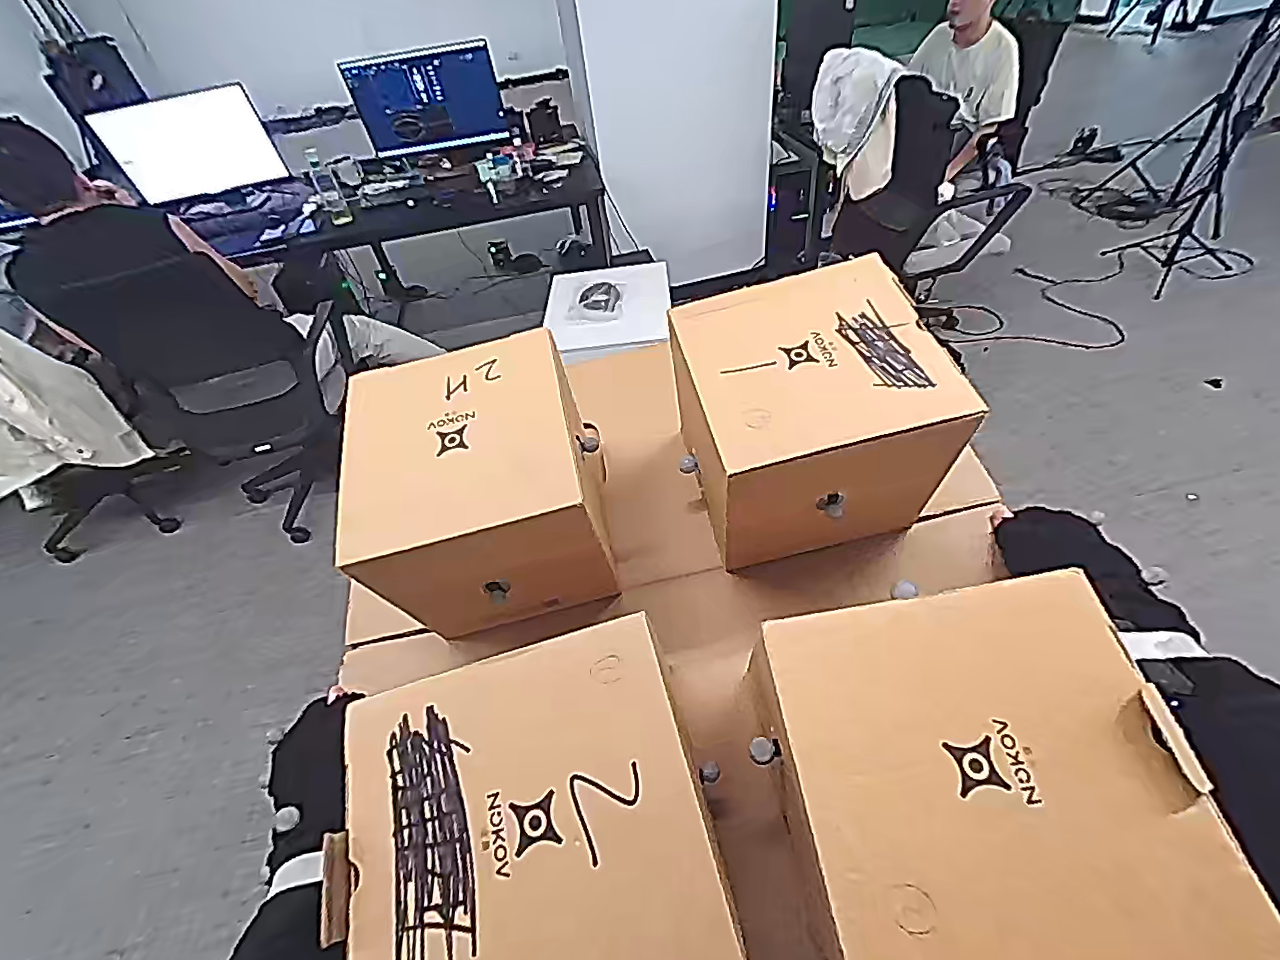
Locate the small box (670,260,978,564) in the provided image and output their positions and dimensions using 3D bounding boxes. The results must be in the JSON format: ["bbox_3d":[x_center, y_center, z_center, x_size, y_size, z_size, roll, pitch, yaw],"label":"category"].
[{"bbox_3d":[0.132,-0.047,0.458,0.179,0.176,0.168,-14,58,1],"label":"small box"}]

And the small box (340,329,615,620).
[{"bbox_3d":[-0.124,0.007,0.465,0.168,0.176,0.179,-14,57,0],"label":"small box"}]
